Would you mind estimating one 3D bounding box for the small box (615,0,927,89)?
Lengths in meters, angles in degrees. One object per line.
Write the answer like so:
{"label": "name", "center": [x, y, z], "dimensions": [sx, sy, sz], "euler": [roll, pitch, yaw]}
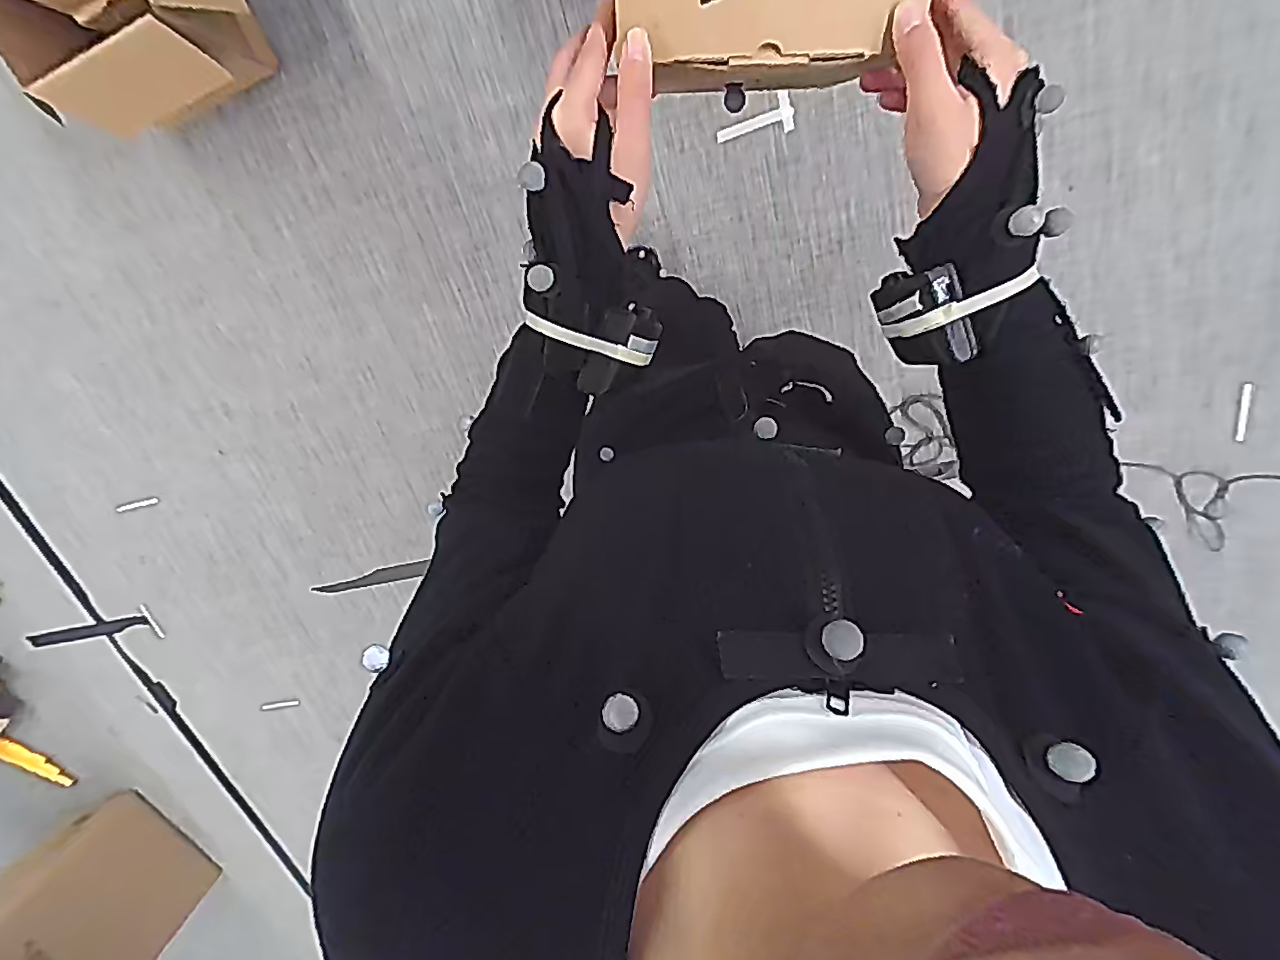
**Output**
{"label": "small box", "center": [0.067, -0.349, 0.318], "dimensions": [0.168, 0.176, 0.179], "euler": [-1, 120, 0]}
